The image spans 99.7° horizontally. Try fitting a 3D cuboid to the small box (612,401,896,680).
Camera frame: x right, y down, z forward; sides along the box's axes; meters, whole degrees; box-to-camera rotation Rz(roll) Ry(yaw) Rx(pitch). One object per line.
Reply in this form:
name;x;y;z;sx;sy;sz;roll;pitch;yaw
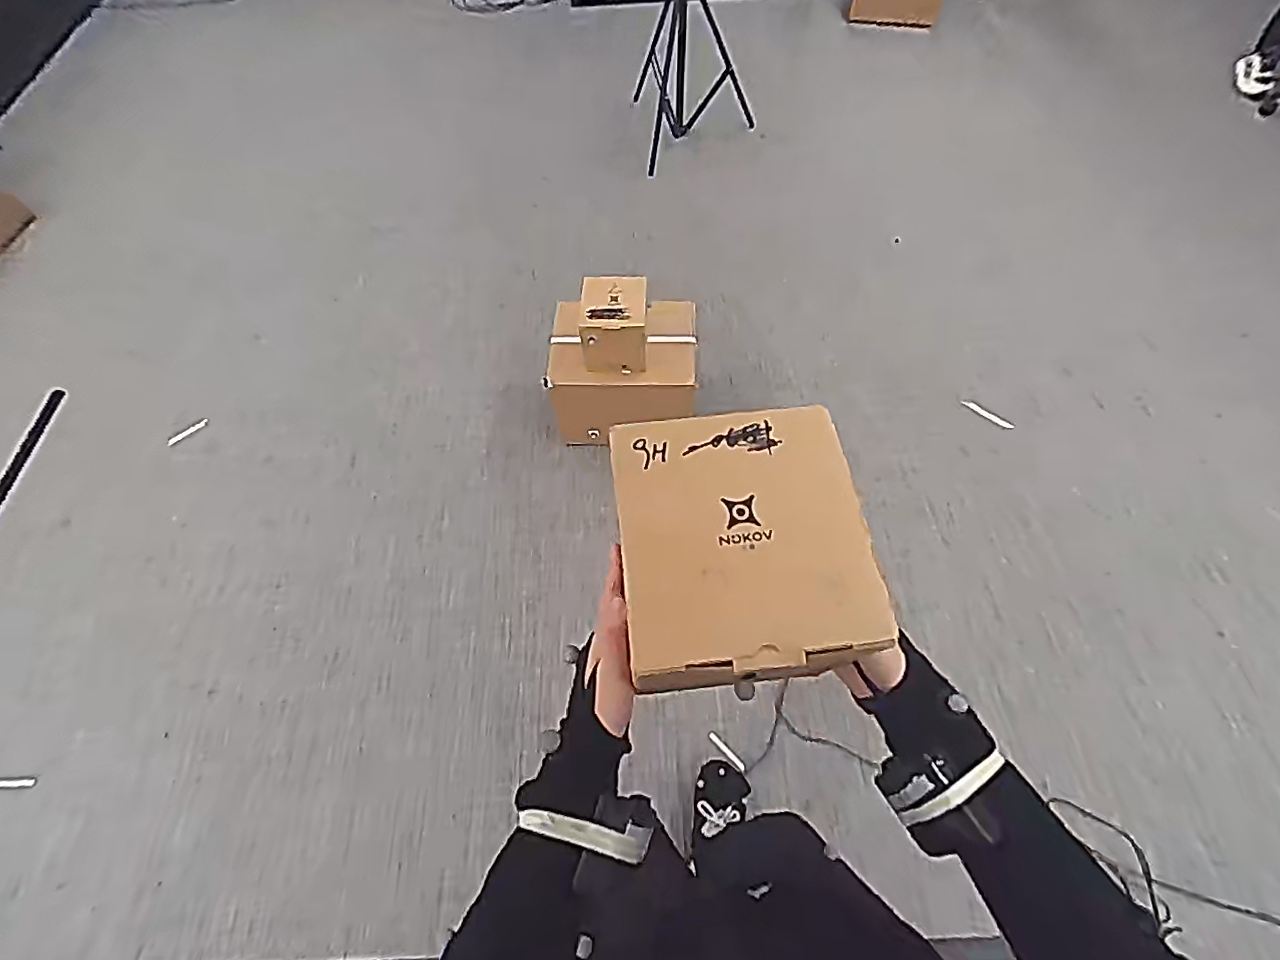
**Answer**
small box;0.068;0.060;0.434;0.168;0.176;0.179;-5;65;-4
